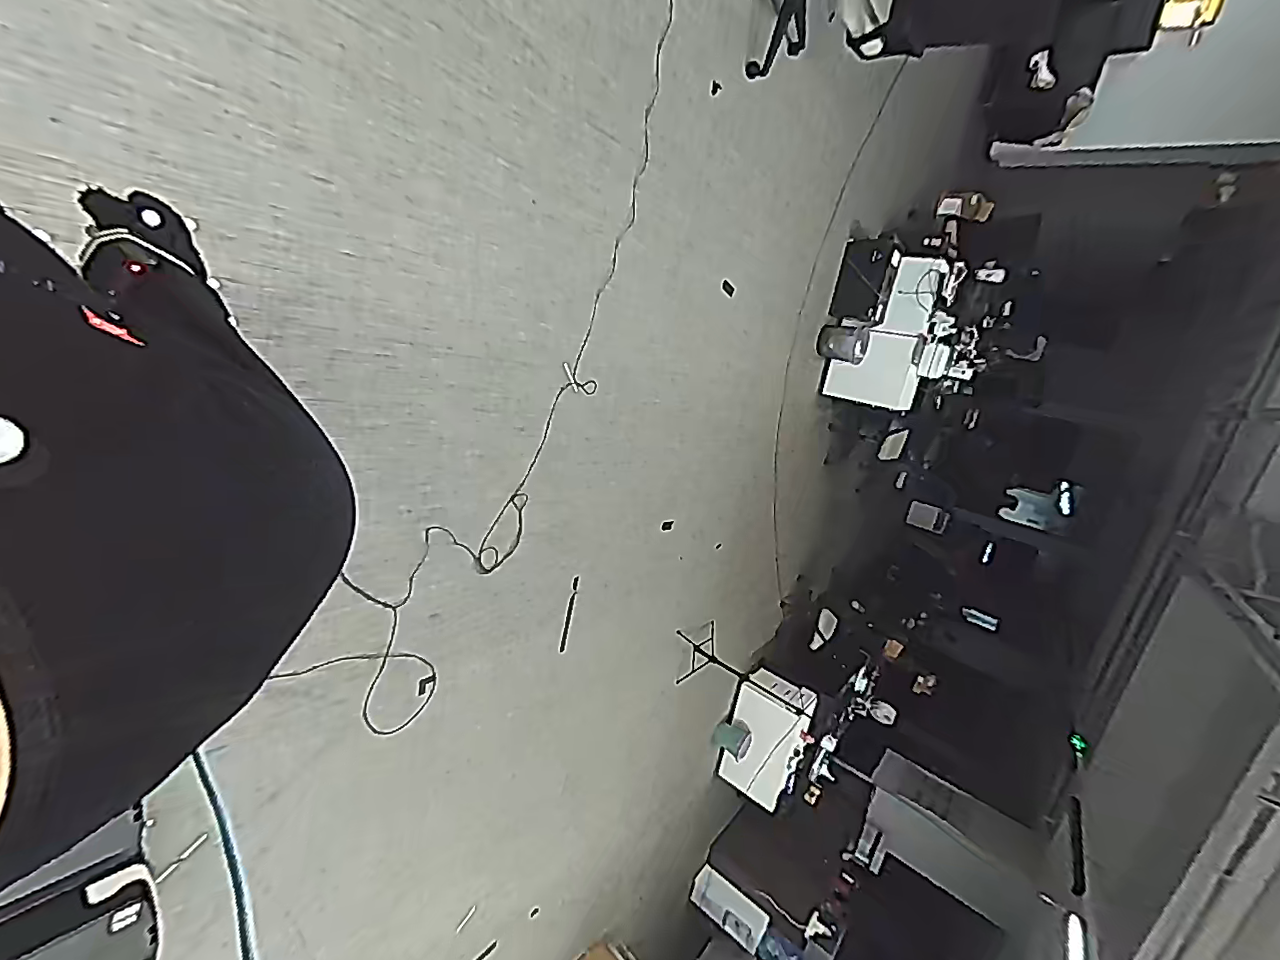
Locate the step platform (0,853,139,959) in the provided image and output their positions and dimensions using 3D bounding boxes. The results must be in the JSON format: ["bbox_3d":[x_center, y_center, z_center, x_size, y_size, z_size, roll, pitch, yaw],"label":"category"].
[{"bbox_3d":[-1.473,1.112,1.087,0.684,0.204,0.286,-10,115,-50],"label":"step platform"}]
